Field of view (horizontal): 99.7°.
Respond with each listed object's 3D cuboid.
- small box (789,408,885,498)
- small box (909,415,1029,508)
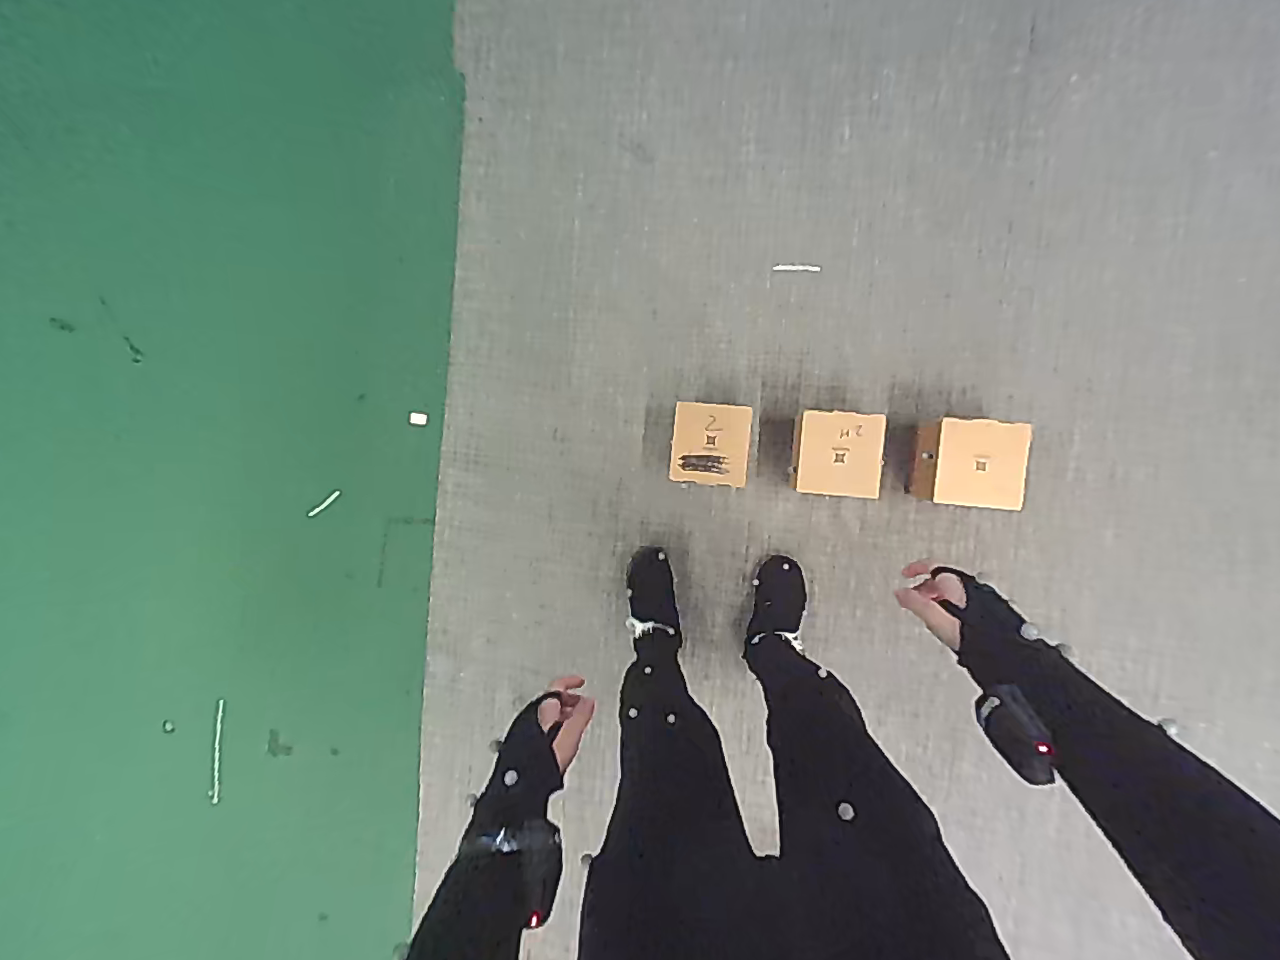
[{"bbox_3d":[0.428,-0.059,1.198,0.168,0.176,0.179,5,92,9],"label":"small box"},{"bbox_3d":[0.692,-0.040,1.156,0.168,0.176,0.179,5,92,10],"label":"small box"}]
